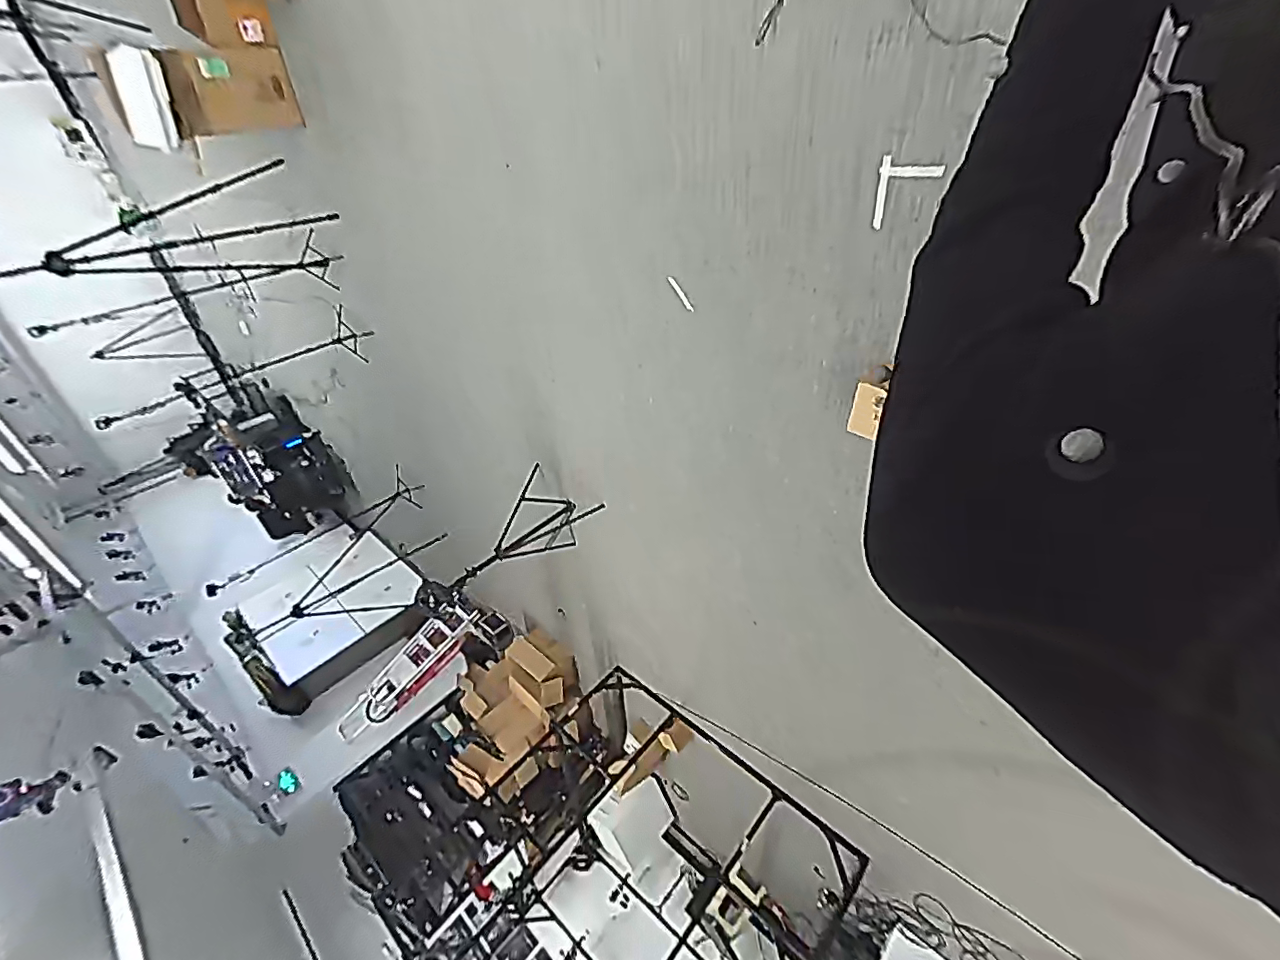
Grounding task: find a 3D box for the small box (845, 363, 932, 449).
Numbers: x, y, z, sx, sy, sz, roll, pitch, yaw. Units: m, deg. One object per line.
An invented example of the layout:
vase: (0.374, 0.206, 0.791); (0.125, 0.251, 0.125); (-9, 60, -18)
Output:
small box: (0.748, -0.229, 1.623); (0.168, 0.176, 0.179); (30, 139, 32)
